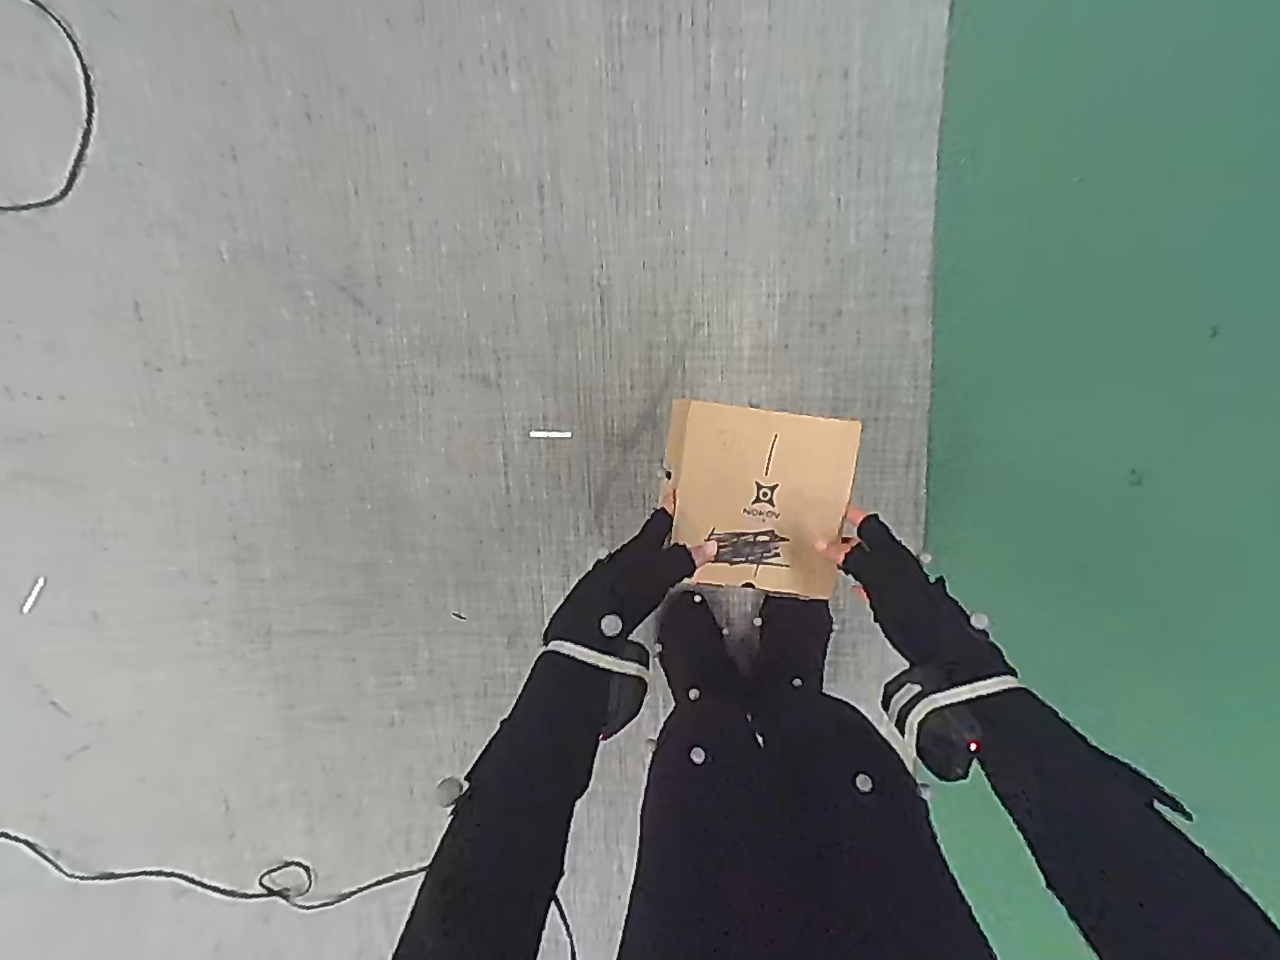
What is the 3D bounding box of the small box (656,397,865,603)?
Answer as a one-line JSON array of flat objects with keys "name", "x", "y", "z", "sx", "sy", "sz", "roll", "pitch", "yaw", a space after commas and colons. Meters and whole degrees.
[{"name": "small box", "x": 0.110, "y": 0.011, "z": 0.574, "sx": 0.168, "sy": 0.176, "sz": 0.179, "roll": 7, "pitch": 97, "yaw": -3}]
